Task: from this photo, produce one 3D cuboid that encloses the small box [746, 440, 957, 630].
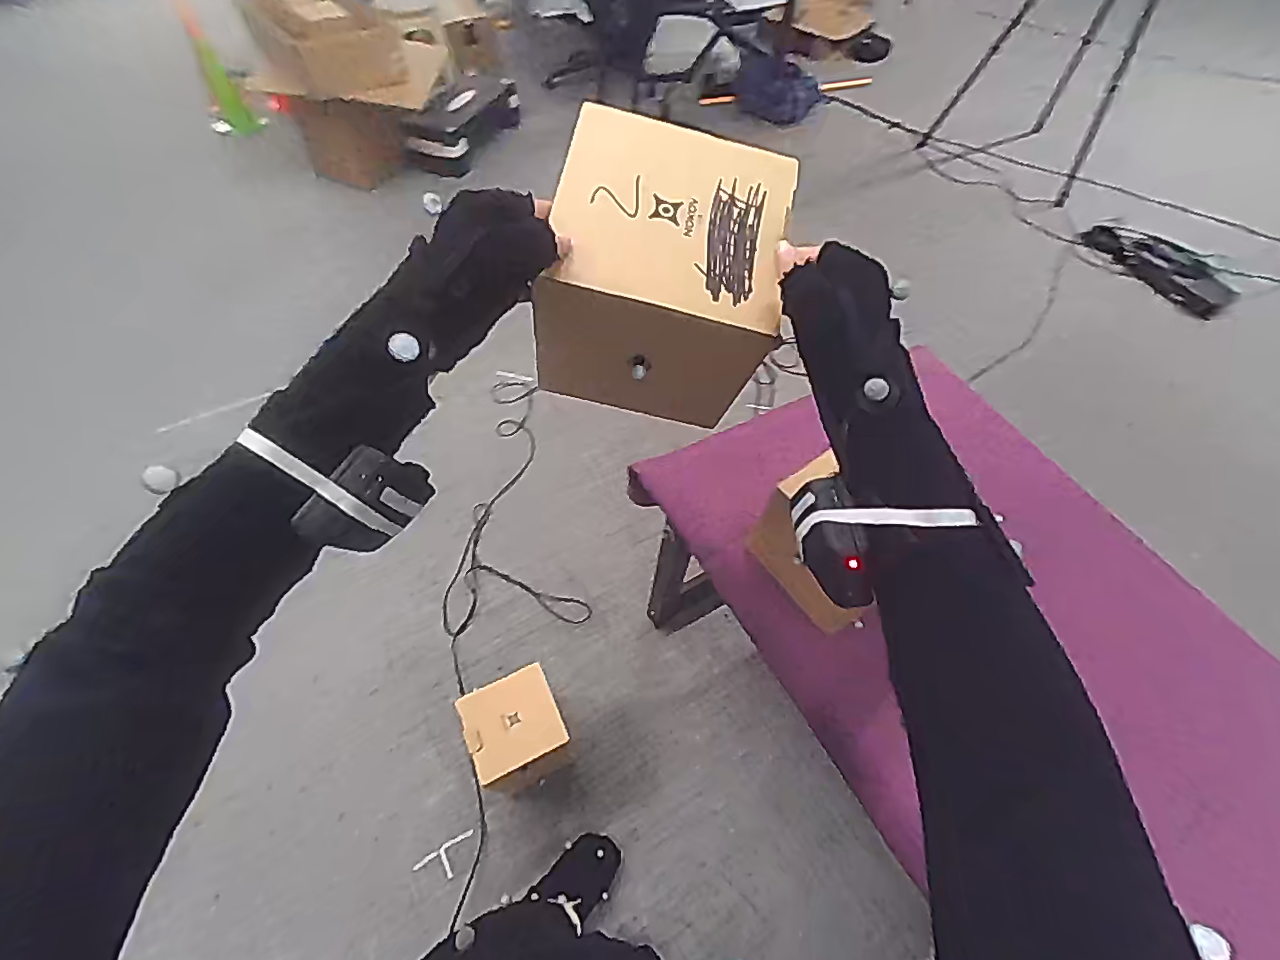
[{"bbox_3d":[0.276,0.084,0.744,0.168,0.176,0.179,-29,64,-23],"label":"small box"}]
